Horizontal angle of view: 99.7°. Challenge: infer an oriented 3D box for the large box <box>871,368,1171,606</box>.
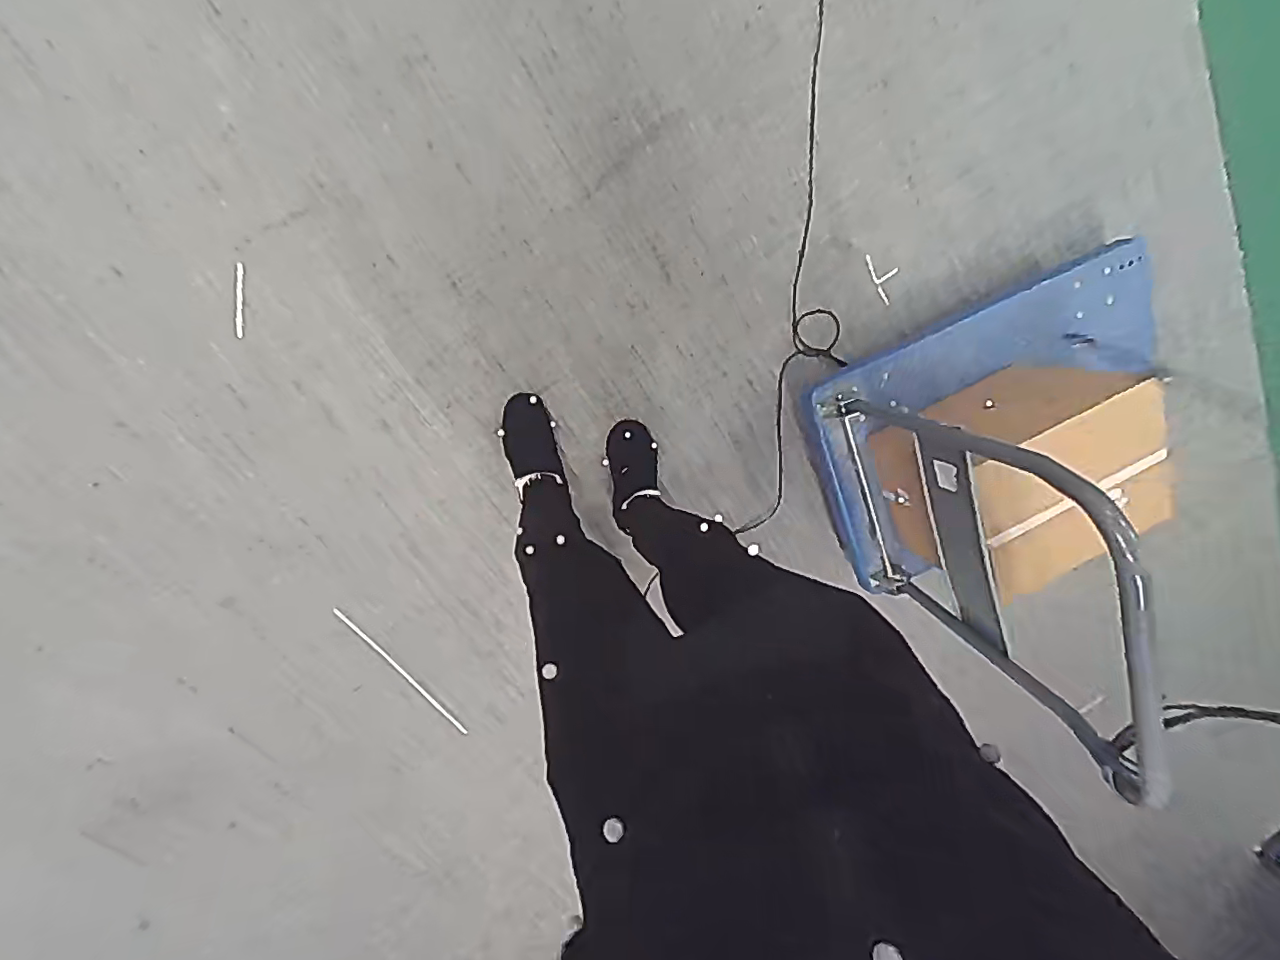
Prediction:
[{"bbox_3d":[0.785,-0.009,1.150,0.408,0.320,0.320,-26,110,-4],"label":"large box"}]
